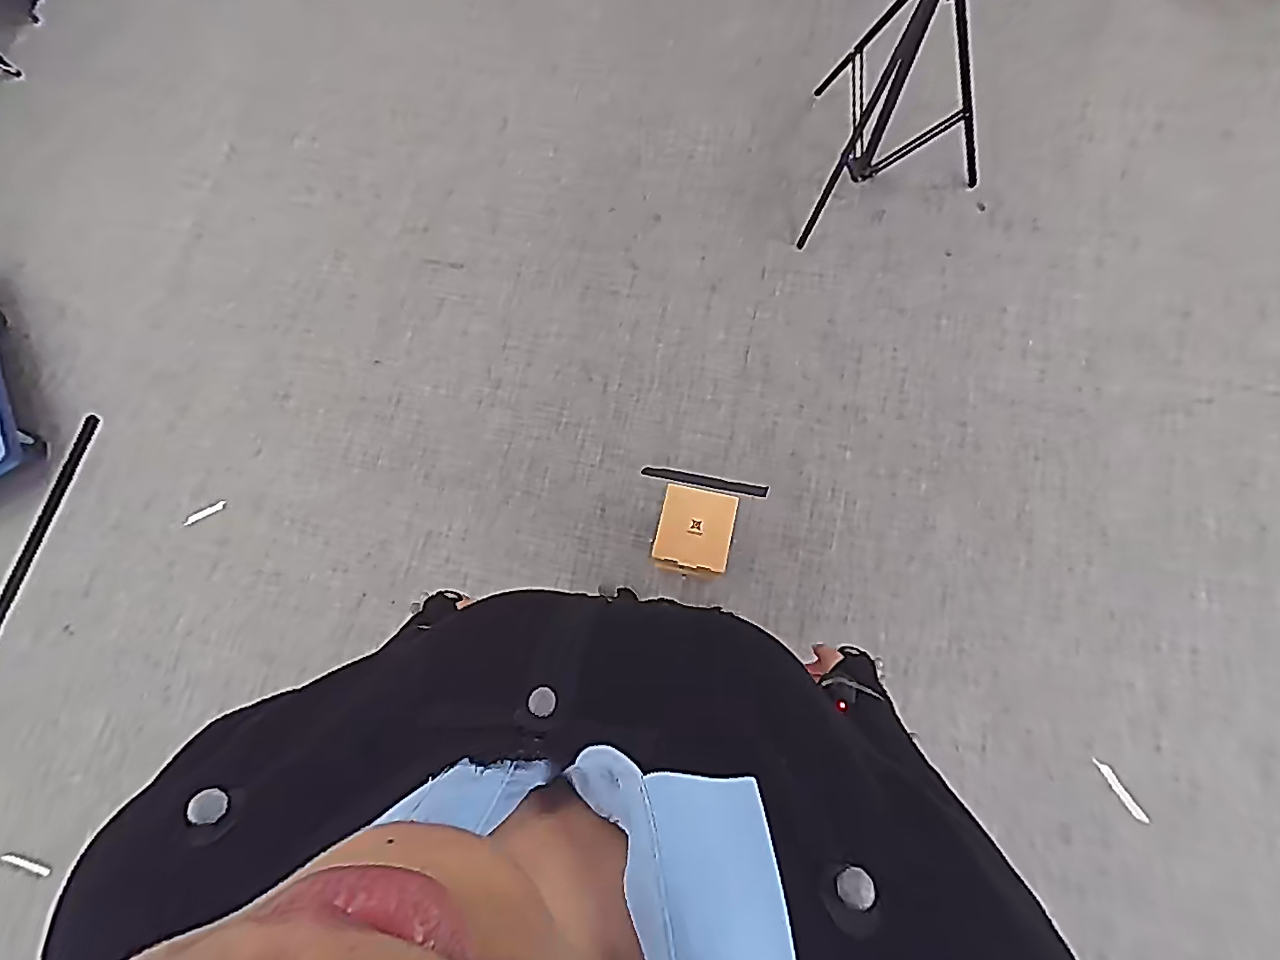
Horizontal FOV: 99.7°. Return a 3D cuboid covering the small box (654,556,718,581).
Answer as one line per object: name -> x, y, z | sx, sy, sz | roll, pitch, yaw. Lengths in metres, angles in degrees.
small box -> 0.137, 0.166, 1.437 | 0.168, 0.176, 0.179 | 10, 77, 7

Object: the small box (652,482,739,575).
small box -> 0.130, 0.121, 1.281 | 0.168, 0.176, 0.179 | 12, 79, 8
